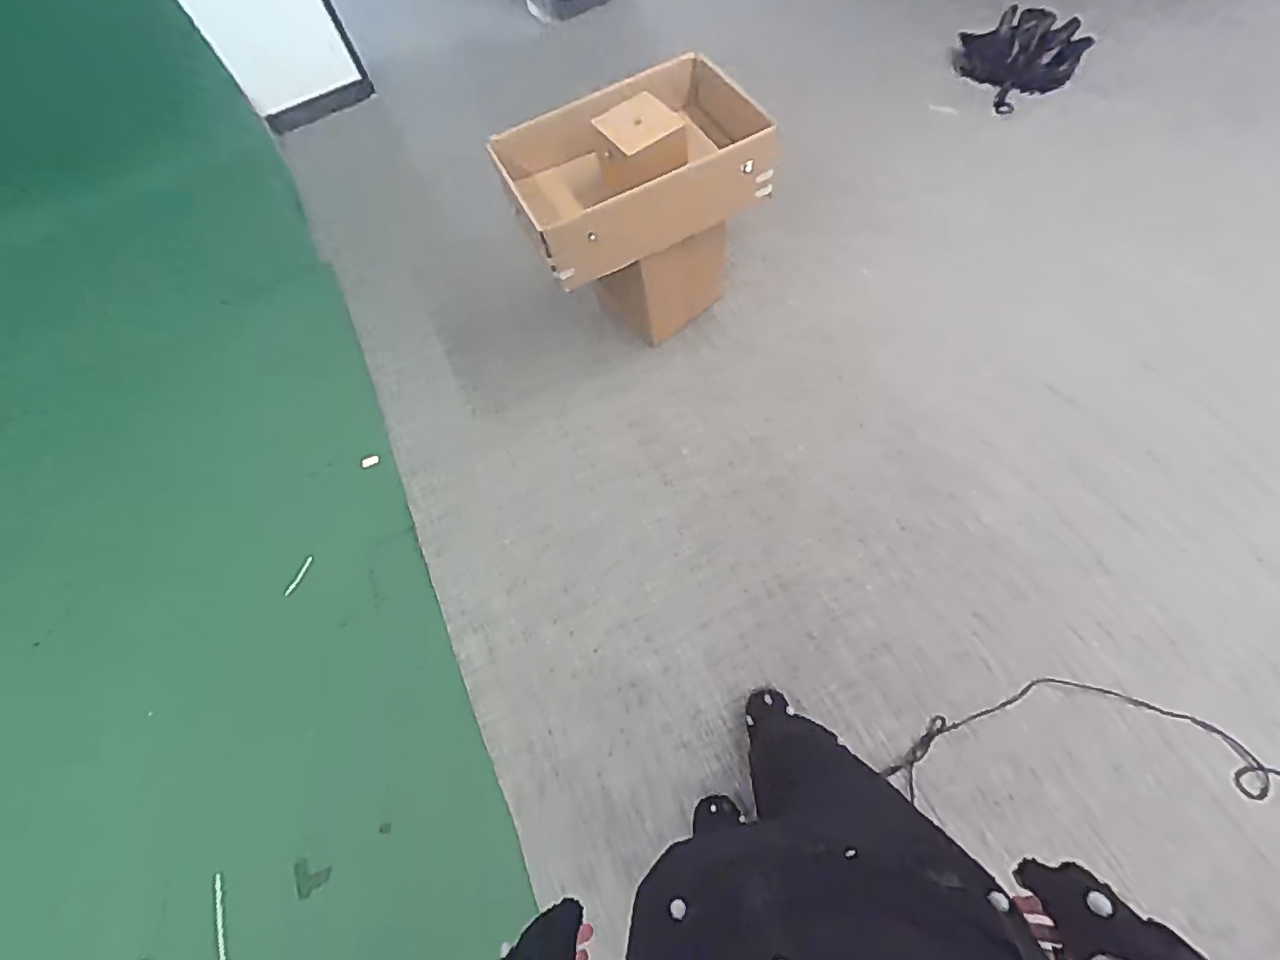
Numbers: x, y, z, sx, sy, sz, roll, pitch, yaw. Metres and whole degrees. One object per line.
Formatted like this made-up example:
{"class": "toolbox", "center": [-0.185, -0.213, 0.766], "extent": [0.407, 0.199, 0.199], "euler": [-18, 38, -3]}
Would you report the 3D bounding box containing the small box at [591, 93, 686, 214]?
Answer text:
{"class": "small box", "center": [0.001, -0.807, 1.346], "extent": [0.168, 0.176, 0.179], "euler": [-33, 67, -7]}
